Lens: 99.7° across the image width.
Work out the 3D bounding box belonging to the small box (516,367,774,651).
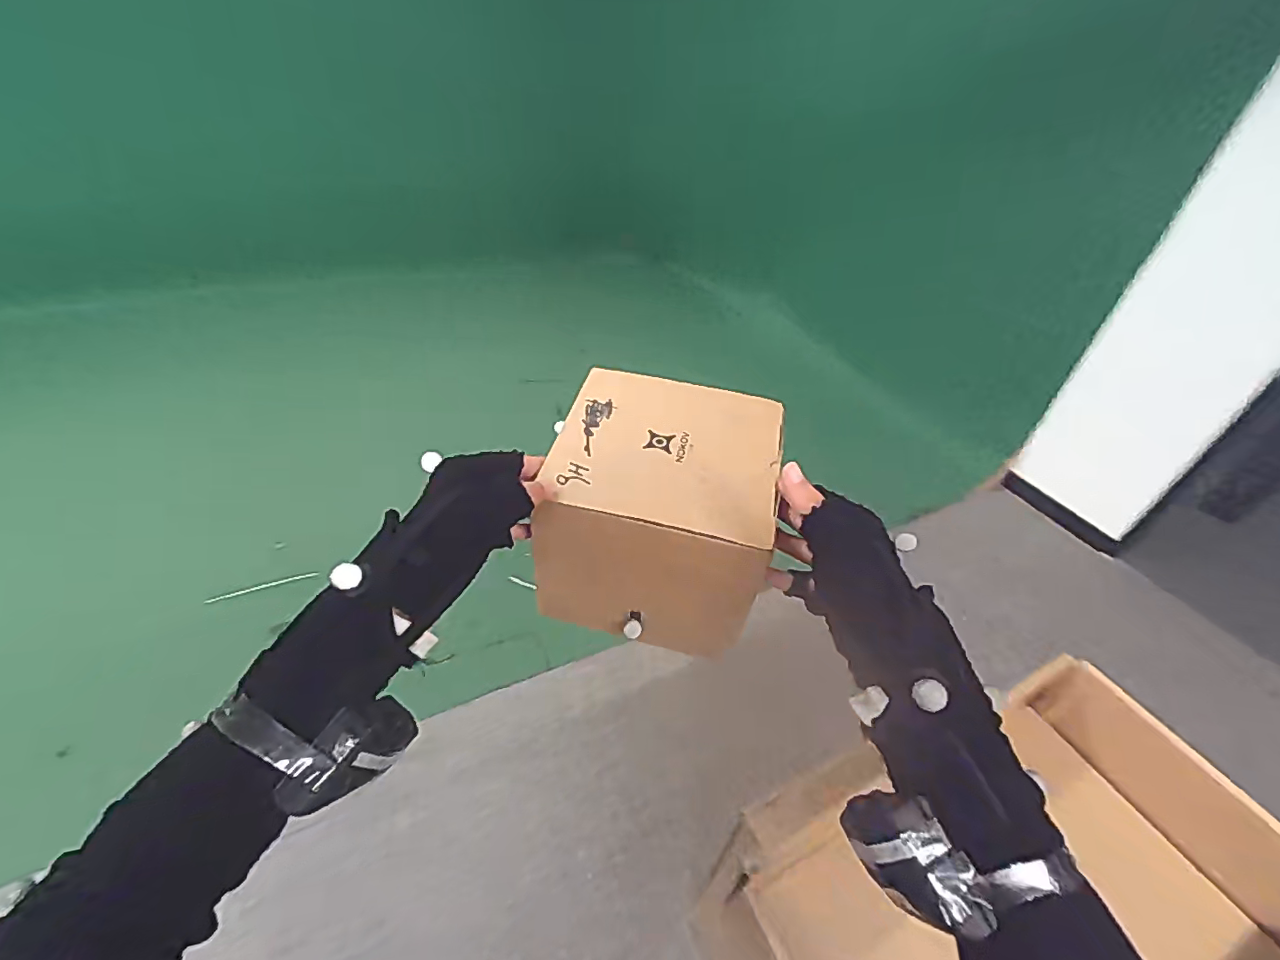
[{"bbox_3d":[0.007,0.030,0.481,0.179,0.176,0.168,13,46,5],"label":"small box"}]
